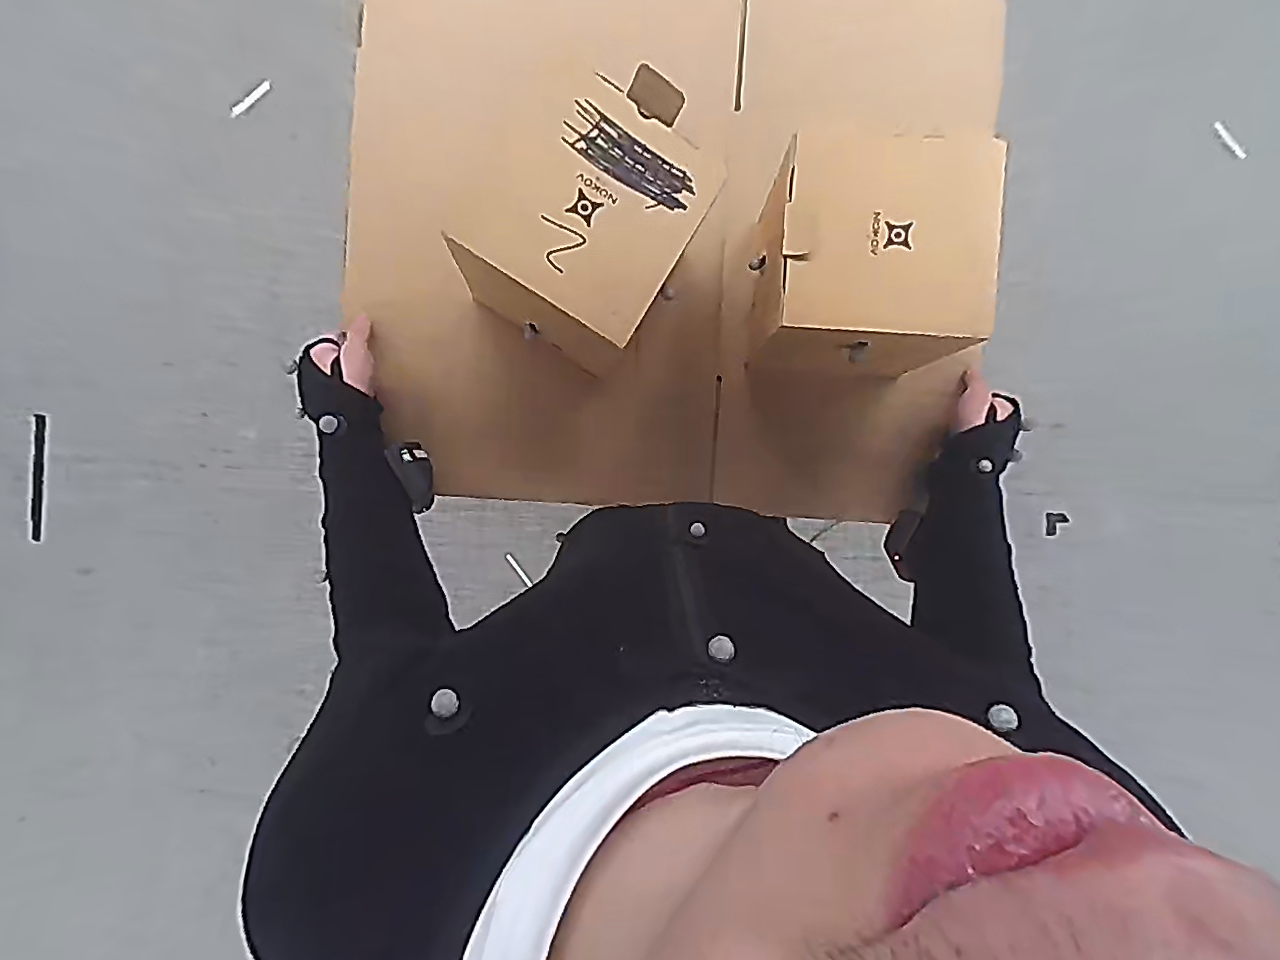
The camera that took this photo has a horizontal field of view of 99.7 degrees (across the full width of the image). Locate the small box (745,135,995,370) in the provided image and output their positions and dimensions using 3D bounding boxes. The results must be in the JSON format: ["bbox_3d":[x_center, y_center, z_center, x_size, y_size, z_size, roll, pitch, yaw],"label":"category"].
[{"bbox_3d":[0.212,-0.209,0.543,0.179,0.176,0.168,4,91,2],"label":"small box"}]
